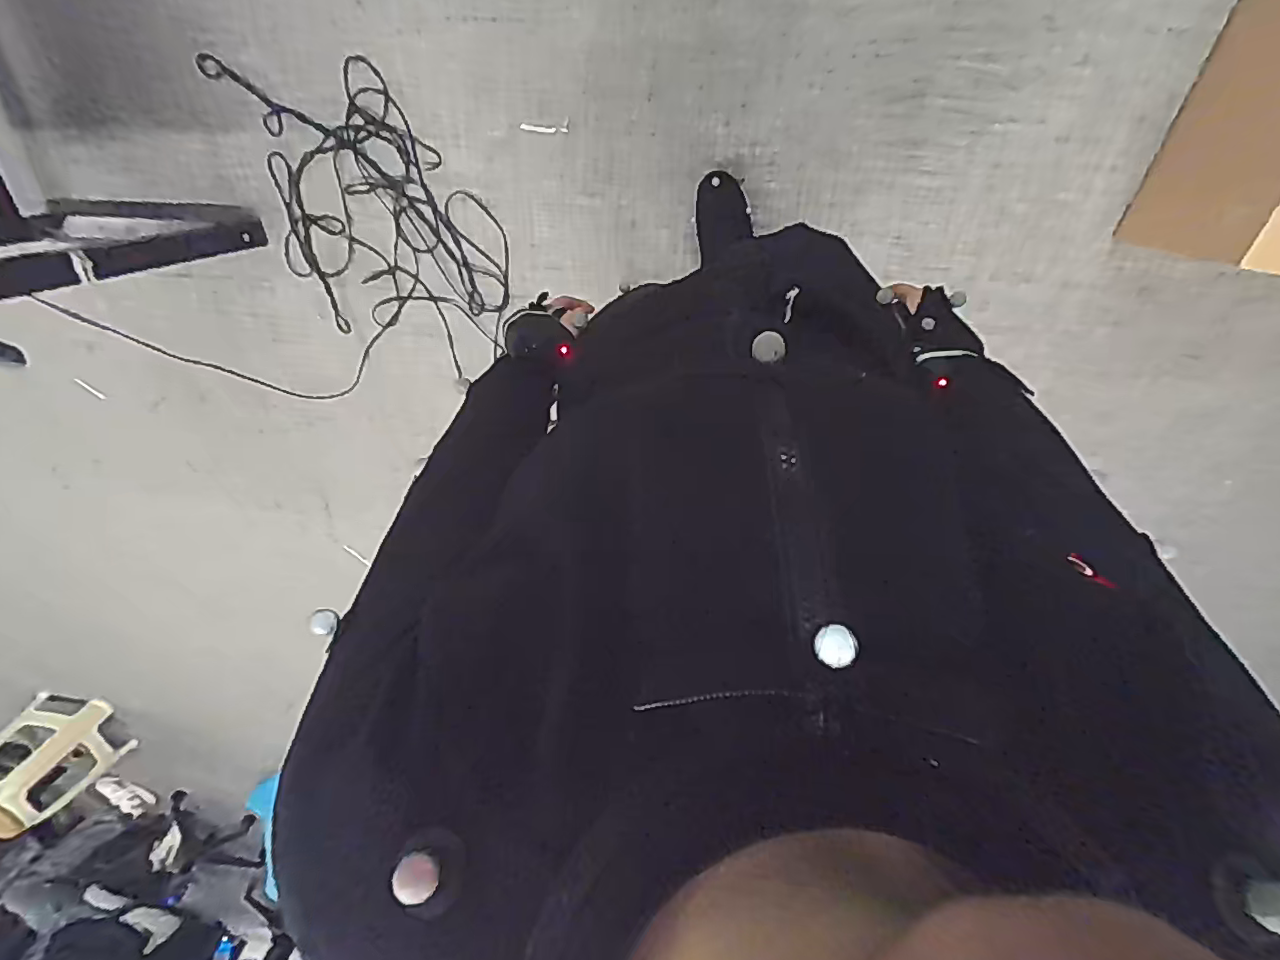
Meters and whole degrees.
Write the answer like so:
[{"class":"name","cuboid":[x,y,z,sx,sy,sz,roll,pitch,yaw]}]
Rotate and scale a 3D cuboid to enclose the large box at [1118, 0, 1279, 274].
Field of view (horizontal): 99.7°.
[{"class":"large box","cuboid":[1.091,-0.549,0.837,0.320,0.320,0.408,9,123,4]}]
